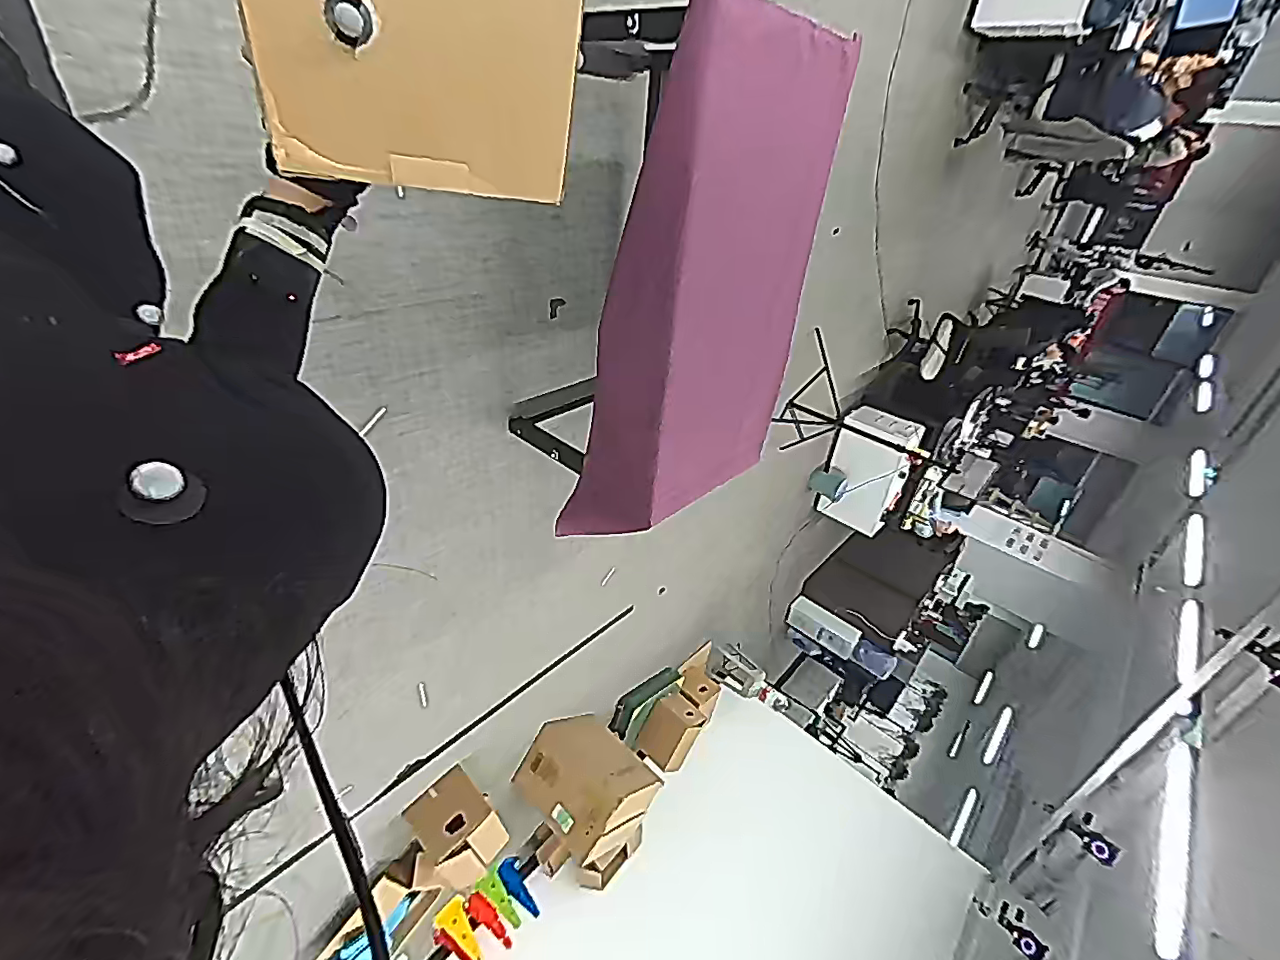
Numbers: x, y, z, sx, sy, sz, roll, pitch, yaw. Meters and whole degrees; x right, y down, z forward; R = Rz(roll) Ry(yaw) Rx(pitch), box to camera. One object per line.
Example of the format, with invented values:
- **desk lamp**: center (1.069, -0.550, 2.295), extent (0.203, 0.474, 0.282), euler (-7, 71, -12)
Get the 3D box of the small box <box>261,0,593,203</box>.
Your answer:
- **small box**: center (-0.130, -0.295, 0.329), extent (0.168, 0.179, 0.176), euler (-4, 135, -25)
